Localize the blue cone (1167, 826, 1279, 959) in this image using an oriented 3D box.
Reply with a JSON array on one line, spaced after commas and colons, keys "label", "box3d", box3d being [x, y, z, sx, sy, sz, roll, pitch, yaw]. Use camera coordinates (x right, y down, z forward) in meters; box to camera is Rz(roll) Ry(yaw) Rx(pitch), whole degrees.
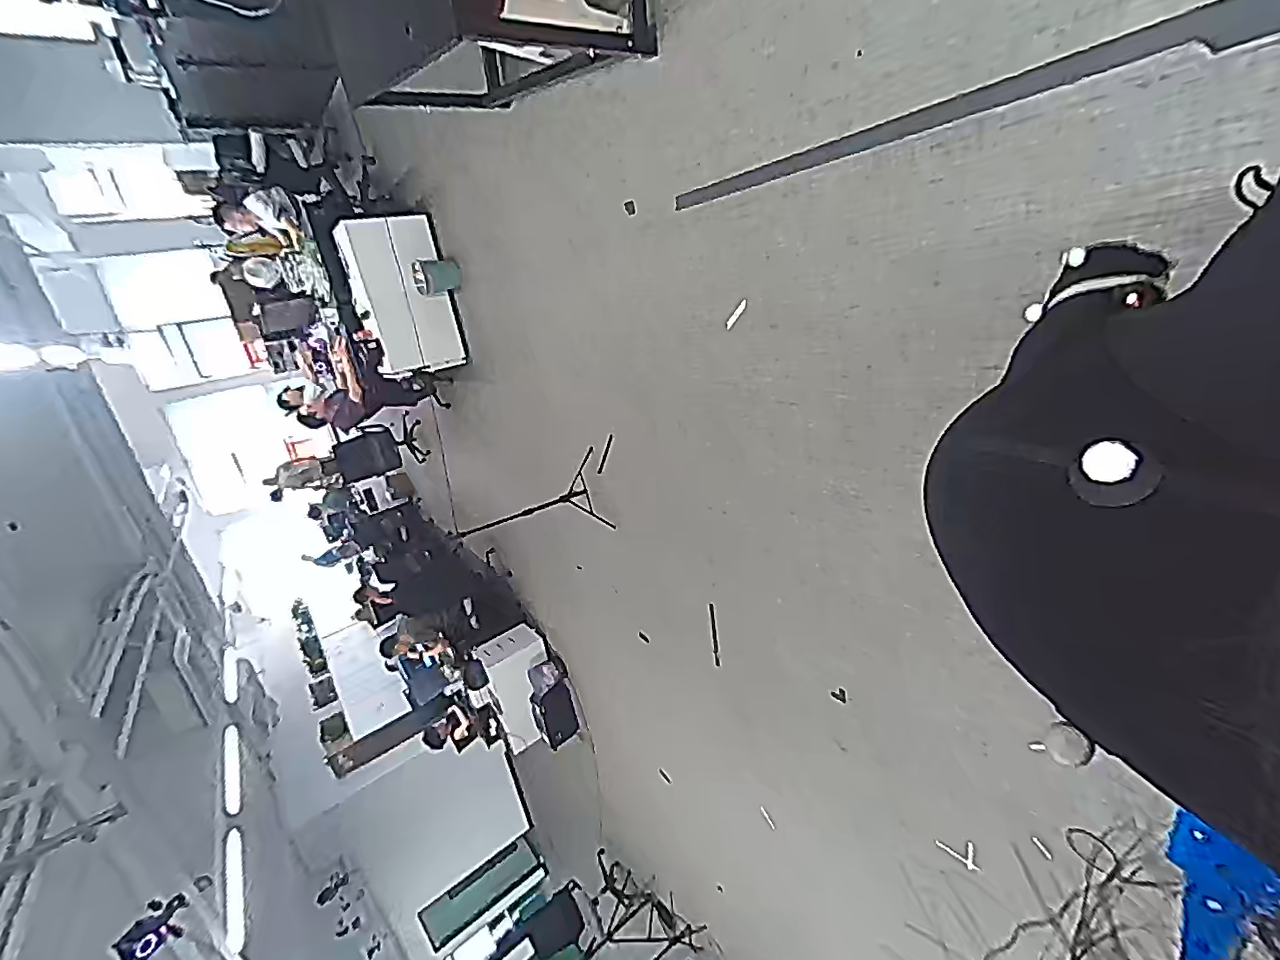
[{"label": "blue cone", "box3d": [1.284, 1.012, 1.226, 0.193, 0.380, 0.192, 16, 123, 52]}]
